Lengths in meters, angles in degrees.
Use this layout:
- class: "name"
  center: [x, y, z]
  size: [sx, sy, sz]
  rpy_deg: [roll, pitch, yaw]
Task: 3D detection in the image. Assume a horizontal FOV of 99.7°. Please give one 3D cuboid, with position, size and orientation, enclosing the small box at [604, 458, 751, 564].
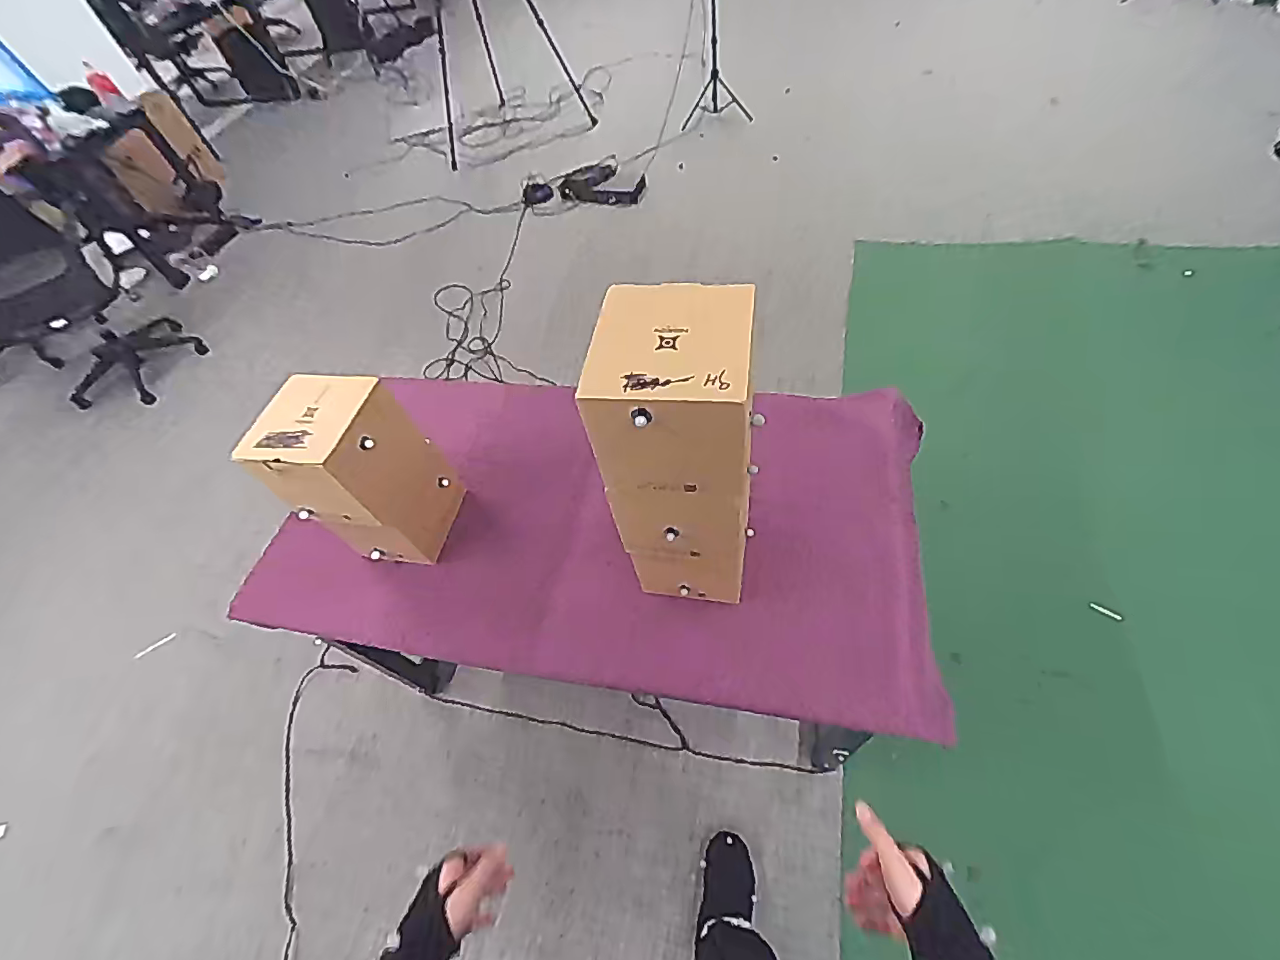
- class: "small box"
  center: [0.062, -0.003, 0.739]
  size: [0.168, 0.176, 0.179]
  rpy_deg: [6, 56, 13]

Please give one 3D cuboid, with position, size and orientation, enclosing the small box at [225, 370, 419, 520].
- class: "small box"
  center: [-0.485, -0.053, 0.861]
  size: [0.168, 0.176, 0.179]
  rpy_deg: [5, 55, 13]

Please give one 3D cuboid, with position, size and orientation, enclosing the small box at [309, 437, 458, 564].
- class: "small box"
  center: [-0.461, 0.033, 0.998]
  size: [0.168, 0.176, 0.179]
  rpy_deg: [5, 56, 13]

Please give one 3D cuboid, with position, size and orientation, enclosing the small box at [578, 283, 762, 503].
- class: "small box"
  center: [0.044, -0.097, 0.606]
  size: [0.168, 0.176, 0.179]
  rpy_deg: [4, 55, 13]
